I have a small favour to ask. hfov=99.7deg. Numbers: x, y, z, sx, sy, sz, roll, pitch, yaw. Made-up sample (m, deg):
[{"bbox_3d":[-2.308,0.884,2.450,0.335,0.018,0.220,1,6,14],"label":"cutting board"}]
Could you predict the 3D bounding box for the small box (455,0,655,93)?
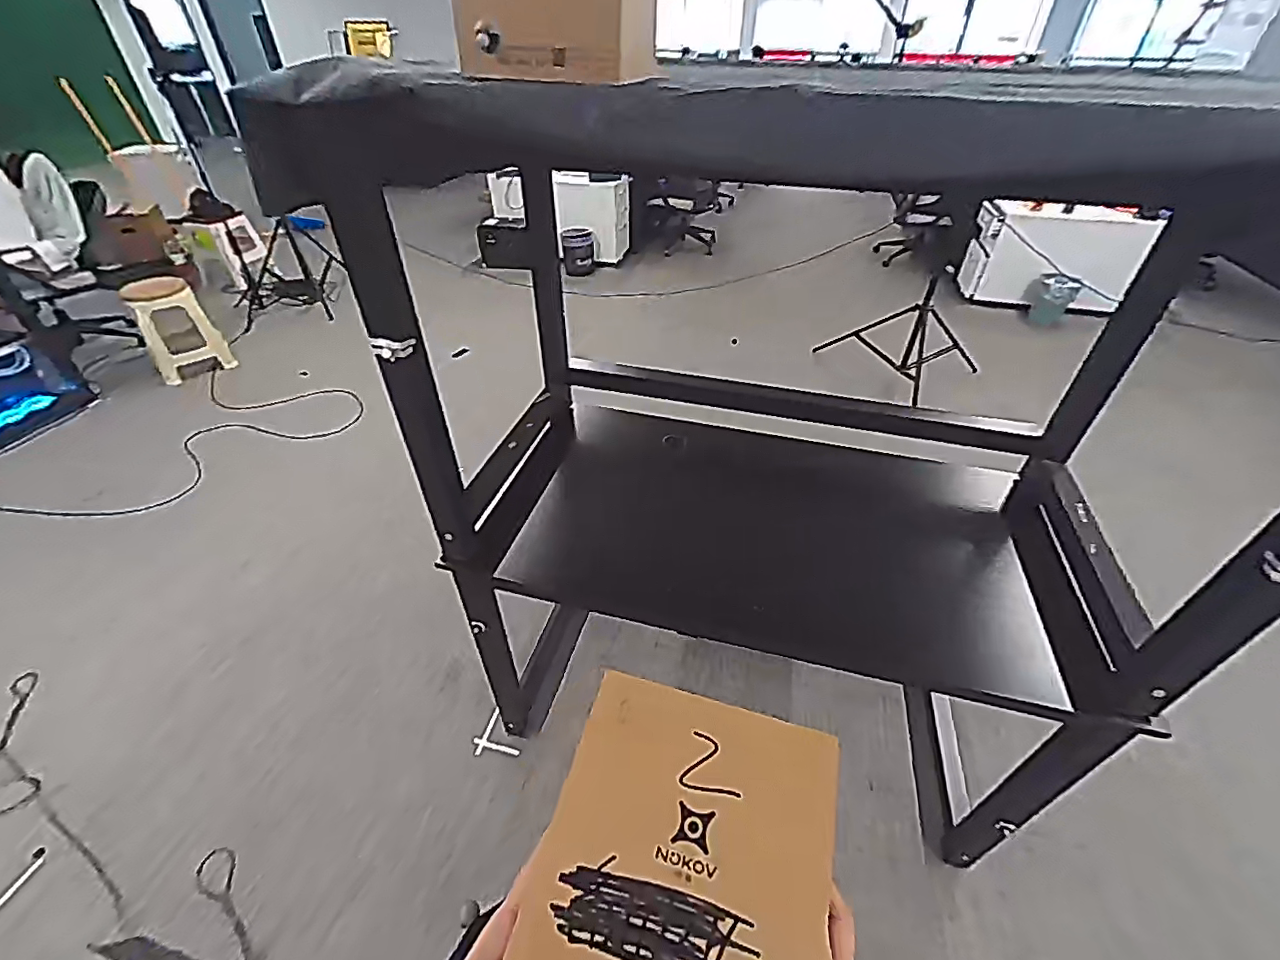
[{"bbox_3d":[-0.078,-0.496,0.542,0.168,0.176,0.179,9,38,8],"label":"small box"}]
